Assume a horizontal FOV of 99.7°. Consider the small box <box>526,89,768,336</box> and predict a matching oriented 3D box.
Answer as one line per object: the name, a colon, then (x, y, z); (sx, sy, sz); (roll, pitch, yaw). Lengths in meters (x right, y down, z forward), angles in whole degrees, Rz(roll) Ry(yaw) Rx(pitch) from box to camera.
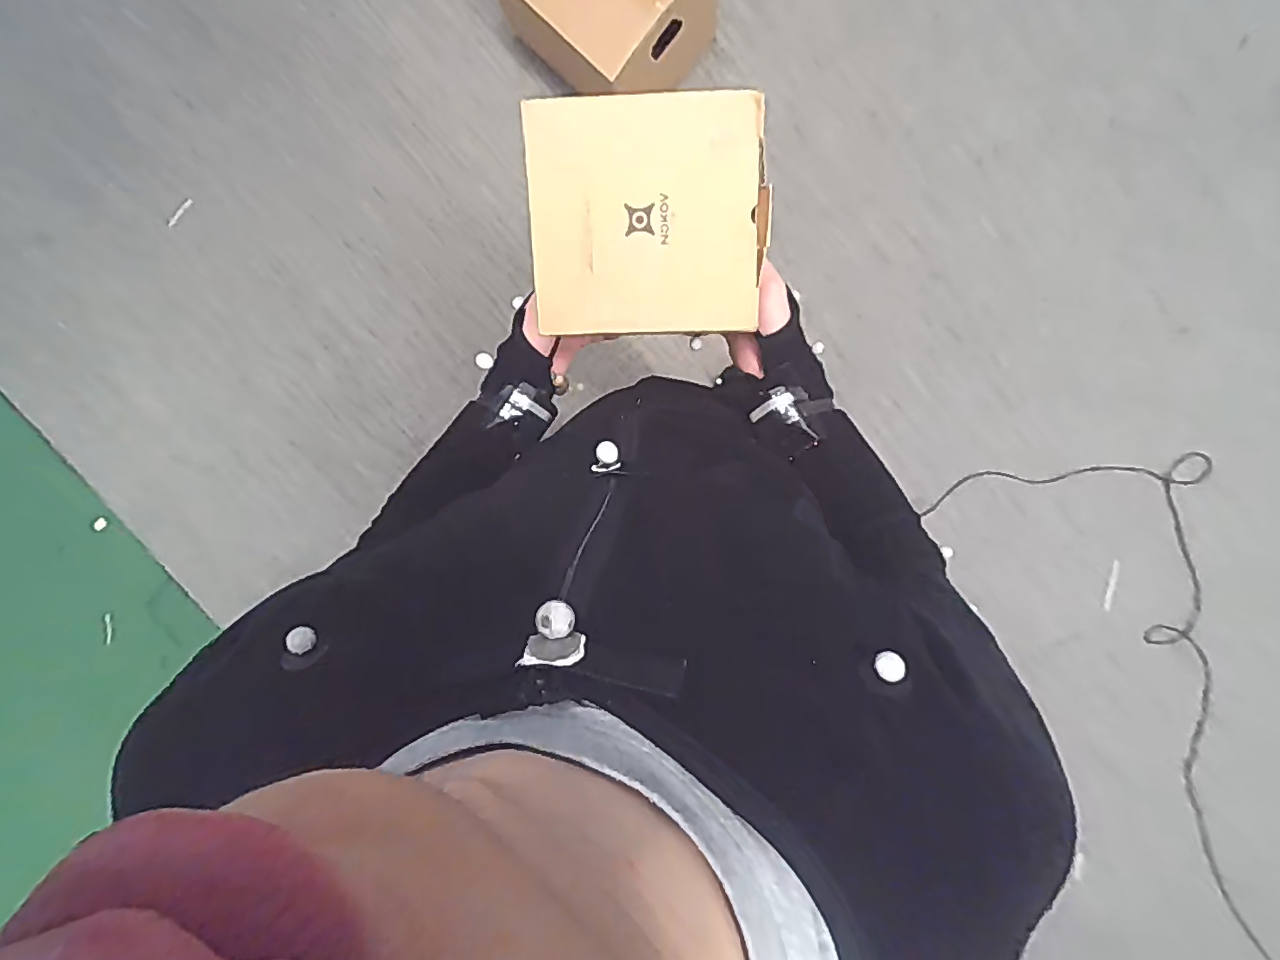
small box: (0.009, -0.216, 0.482); (0.179, 0.176, 0.168); (-1, 104, 4)
